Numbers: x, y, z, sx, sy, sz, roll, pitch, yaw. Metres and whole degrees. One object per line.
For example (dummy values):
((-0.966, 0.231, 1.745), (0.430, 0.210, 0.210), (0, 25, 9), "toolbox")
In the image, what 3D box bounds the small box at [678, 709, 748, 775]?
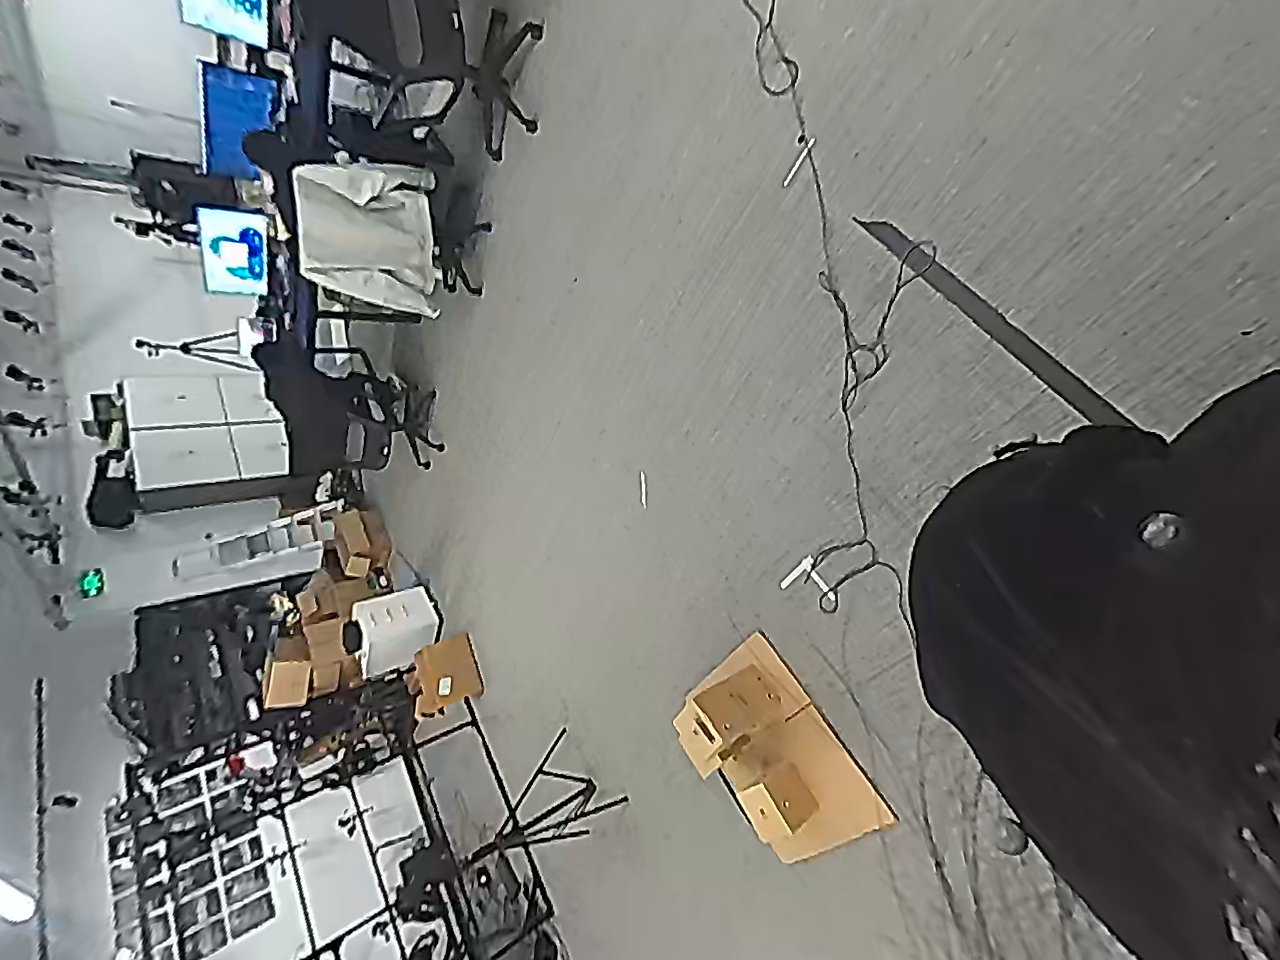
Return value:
((0.285, 1.002, 2.108), (0.179, 0.176, 0.168), (50, 133, 29), "small box")

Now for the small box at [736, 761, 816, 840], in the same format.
((0.479, 1.120, 1.904), (0.179, 0.176, 0.168), (57, 135, 23), "small box")

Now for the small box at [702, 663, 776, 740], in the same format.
((0.365, 0.800, 1.966), (0.168, 0.176, 0.179), (51, 133, 29), "small box")
